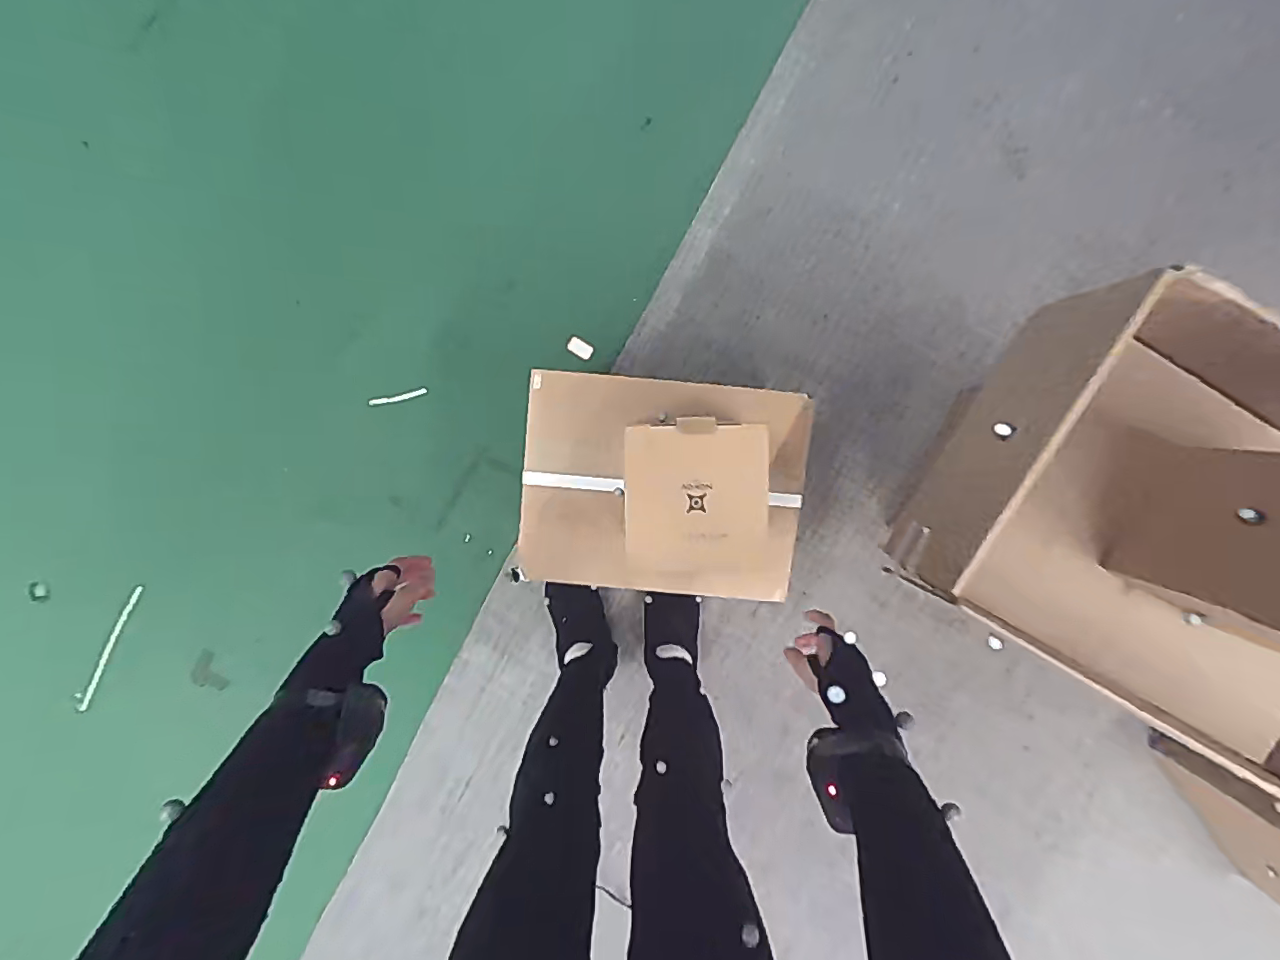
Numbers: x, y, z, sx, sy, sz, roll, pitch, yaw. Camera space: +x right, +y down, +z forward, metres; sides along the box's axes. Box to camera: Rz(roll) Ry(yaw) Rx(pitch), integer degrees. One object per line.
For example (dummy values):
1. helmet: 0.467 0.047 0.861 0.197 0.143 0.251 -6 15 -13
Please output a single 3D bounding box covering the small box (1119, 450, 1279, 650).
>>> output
1. small box: 0.689 0.078 0.583 0.168 0.176 0.179 28 97 -1
